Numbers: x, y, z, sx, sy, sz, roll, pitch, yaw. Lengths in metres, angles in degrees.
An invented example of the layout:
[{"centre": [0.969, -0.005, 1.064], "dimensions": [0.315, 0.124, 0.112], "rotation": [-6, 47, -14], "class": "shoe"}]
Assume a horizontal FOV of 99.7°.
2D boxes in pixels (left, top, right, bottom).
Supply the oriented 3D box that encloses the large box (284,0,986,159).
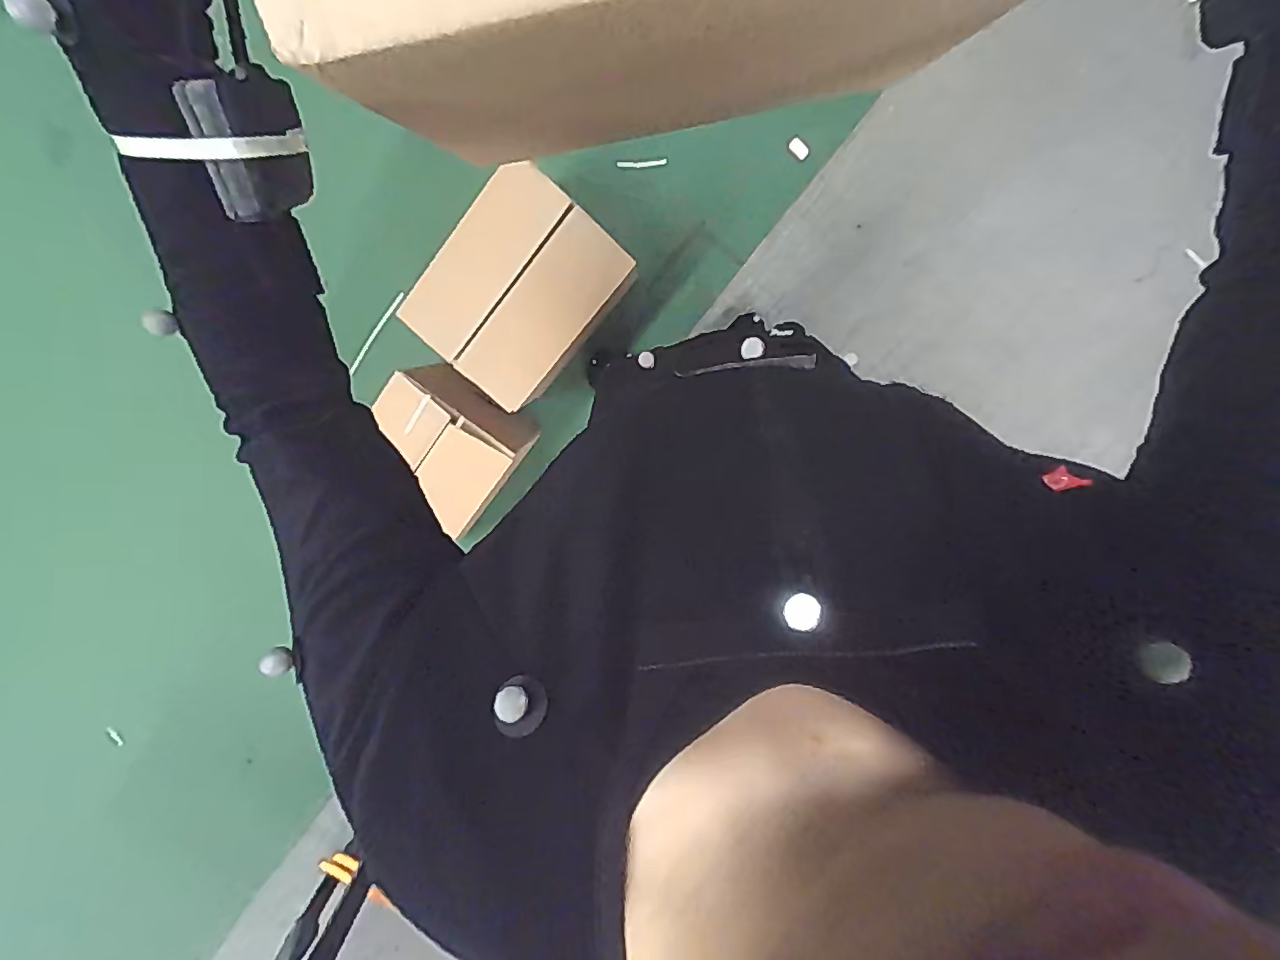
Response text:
[{"centre": [0.013, -0.417, 0.305], "dimensions": [0.408, 0.320, 0.320], "rotation": [-10, 113, 3], "class": "large box"}]
